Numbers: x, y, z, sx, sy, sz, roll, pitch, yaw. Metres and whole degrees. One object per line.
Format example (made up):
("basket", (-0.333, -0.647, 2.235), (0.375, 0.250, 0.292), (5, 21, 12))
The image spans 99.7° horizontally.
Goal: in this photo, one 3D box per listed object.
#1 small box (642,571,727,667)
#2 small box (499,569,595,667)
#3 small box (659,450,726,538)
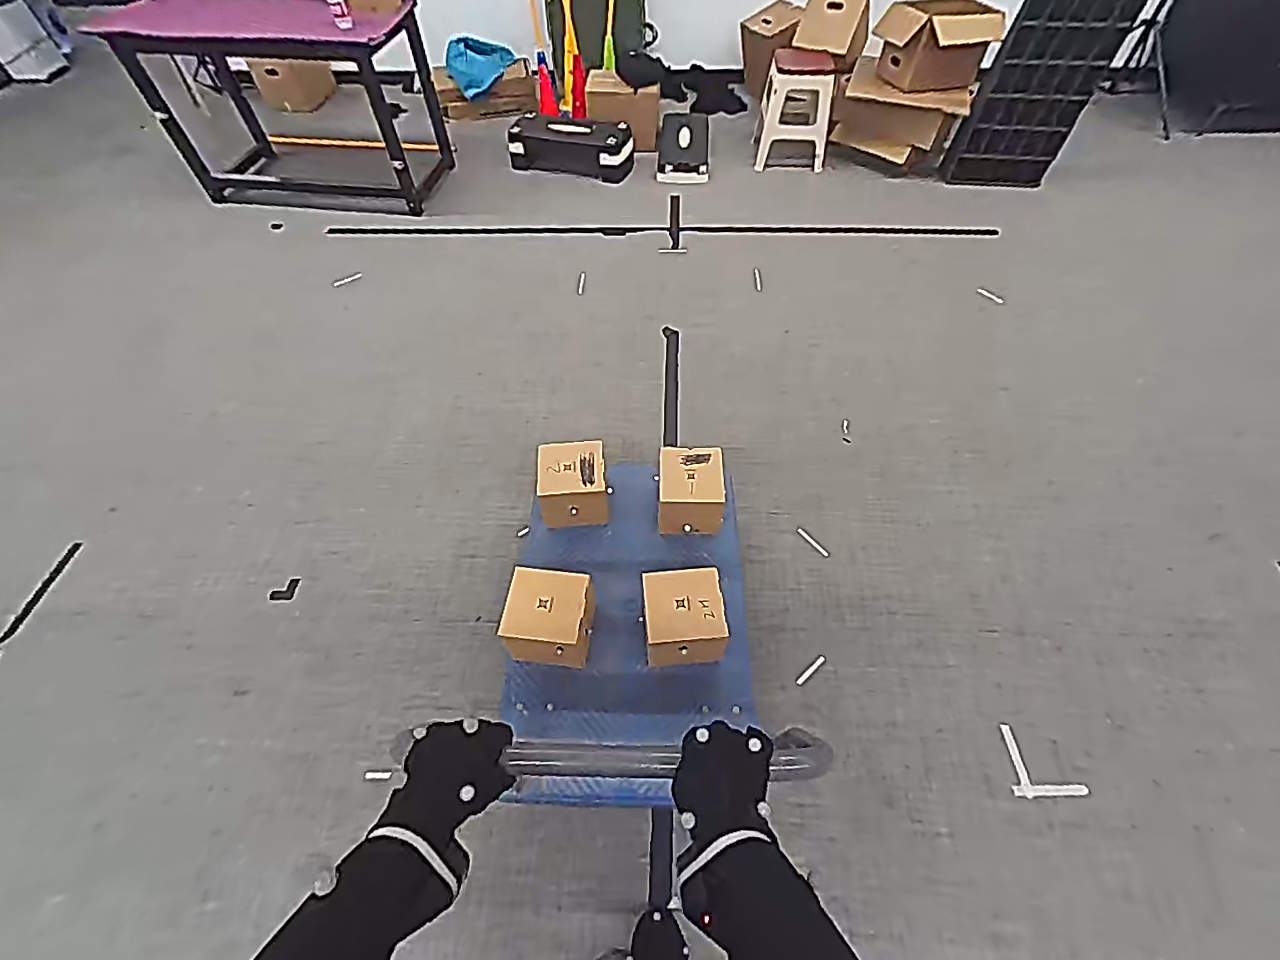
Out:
("small box", (0.099, 0.328, 1.260), (0.179, 0.176, 0.168), (-4, 55, -2))
("small box", (-0.208, 0.327, 1.266), (0.179, 0.176, 0.168), (6, 55, 3))
("small box", (0.136, 0.039, 1.464), (0.168, 0.176, 0.179), (1, 56, 1))
